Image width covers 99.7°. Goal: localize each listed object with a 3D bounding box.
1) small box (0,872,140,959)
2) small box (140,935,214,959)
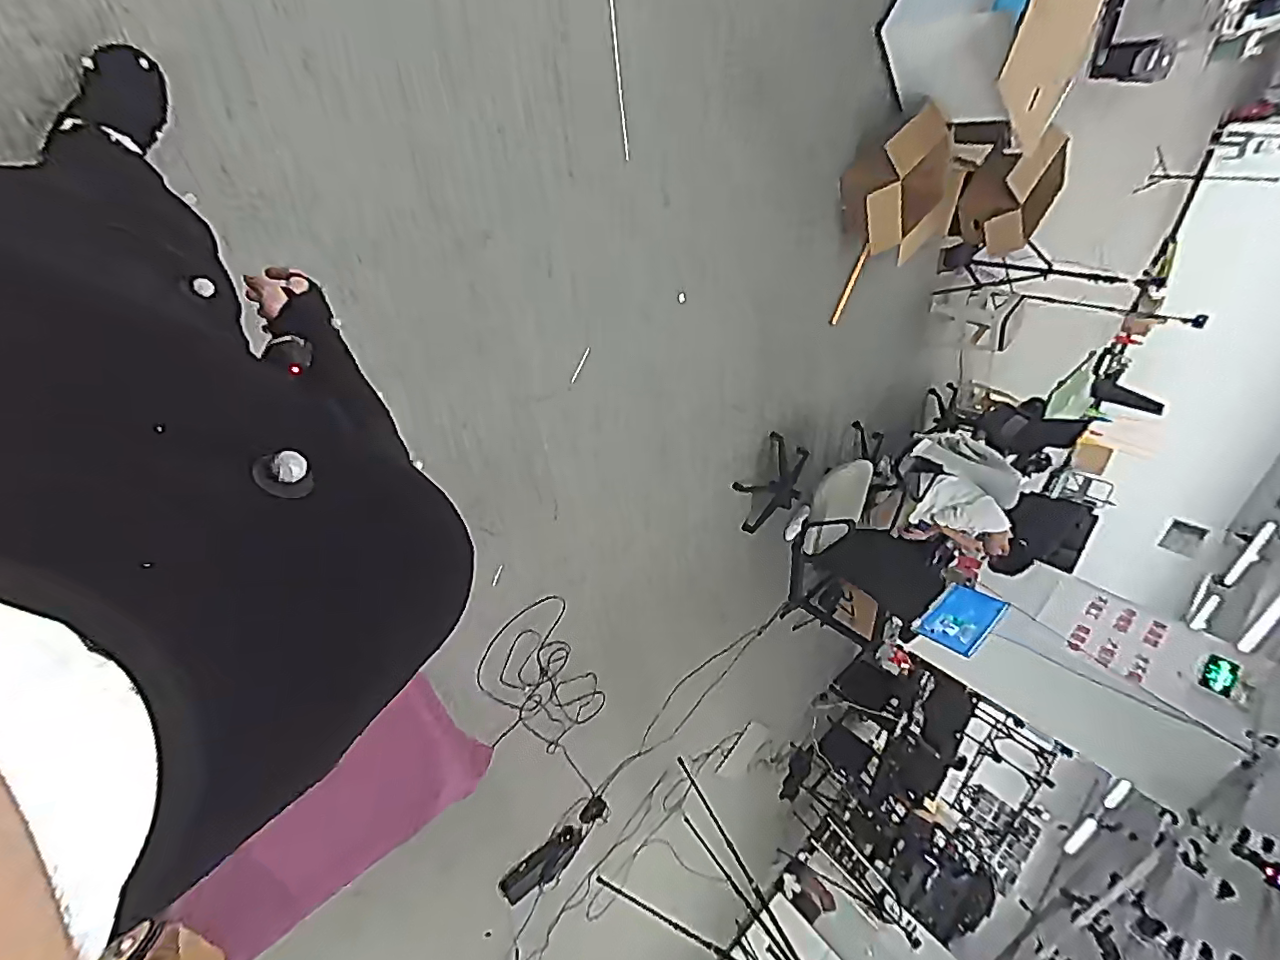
[{"bbox_3d":[-0.875,0.730,0.792,0.168,0.176,0.179,-29,132,-31],"label":"small box"},{"bbox_3d":[-0.862,0.958,0.945,0.168,0.176,0.179,-28,129,-30],"label":"small box"}]
